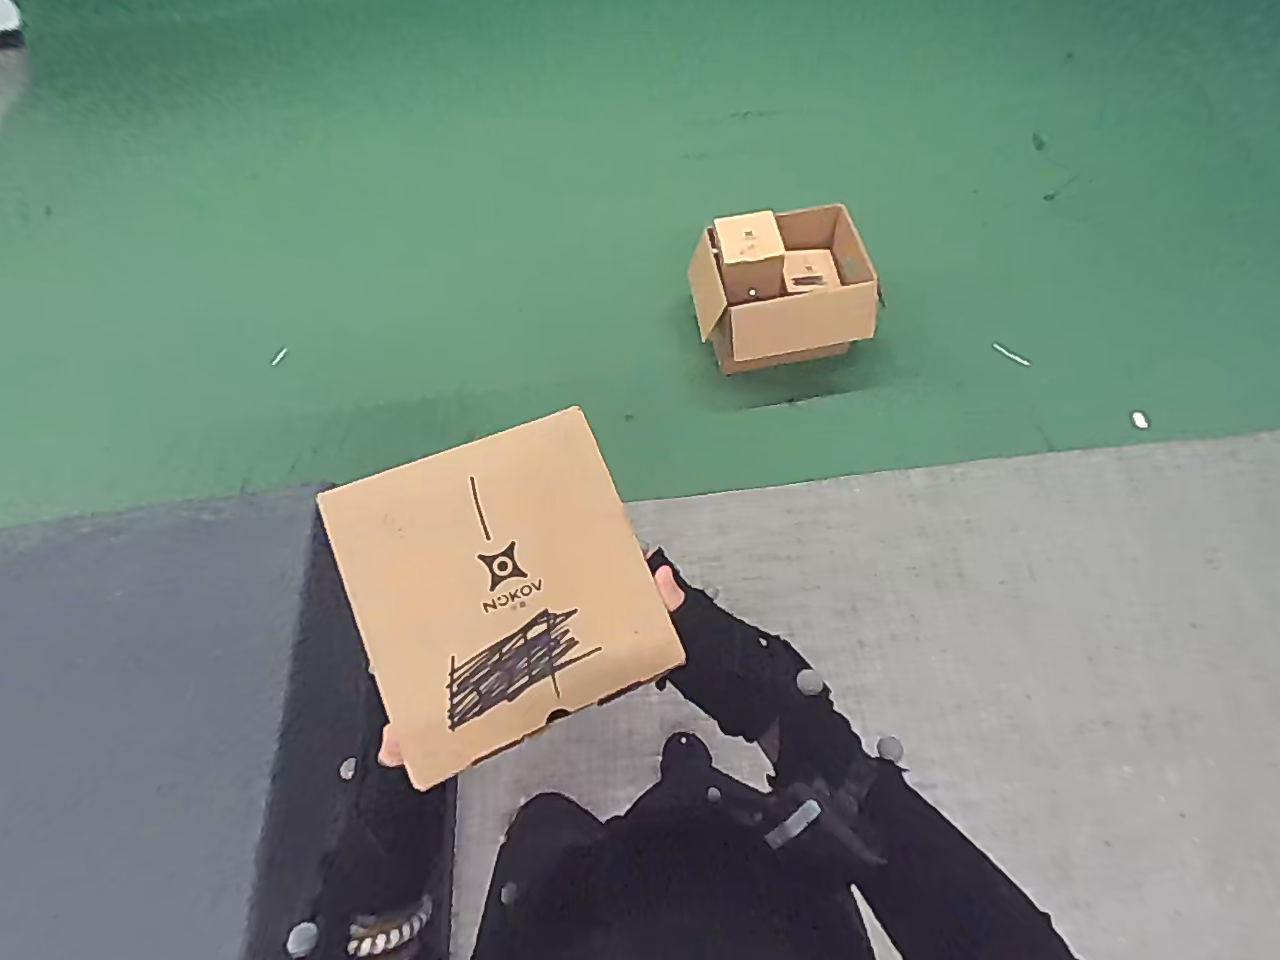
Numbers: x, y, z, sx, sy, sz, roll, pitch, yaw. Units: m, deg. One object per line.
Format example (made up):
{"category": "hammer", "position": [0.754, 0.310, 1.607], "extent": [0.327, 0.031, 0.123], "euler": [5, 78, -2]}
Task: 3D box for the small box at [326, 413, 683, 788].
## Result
{"category": "small box", "position": [-0.089, 0.078, 0.396], "extent": [0.168, 0.176, 0.179], "euler": [-21, 81, -14]}
